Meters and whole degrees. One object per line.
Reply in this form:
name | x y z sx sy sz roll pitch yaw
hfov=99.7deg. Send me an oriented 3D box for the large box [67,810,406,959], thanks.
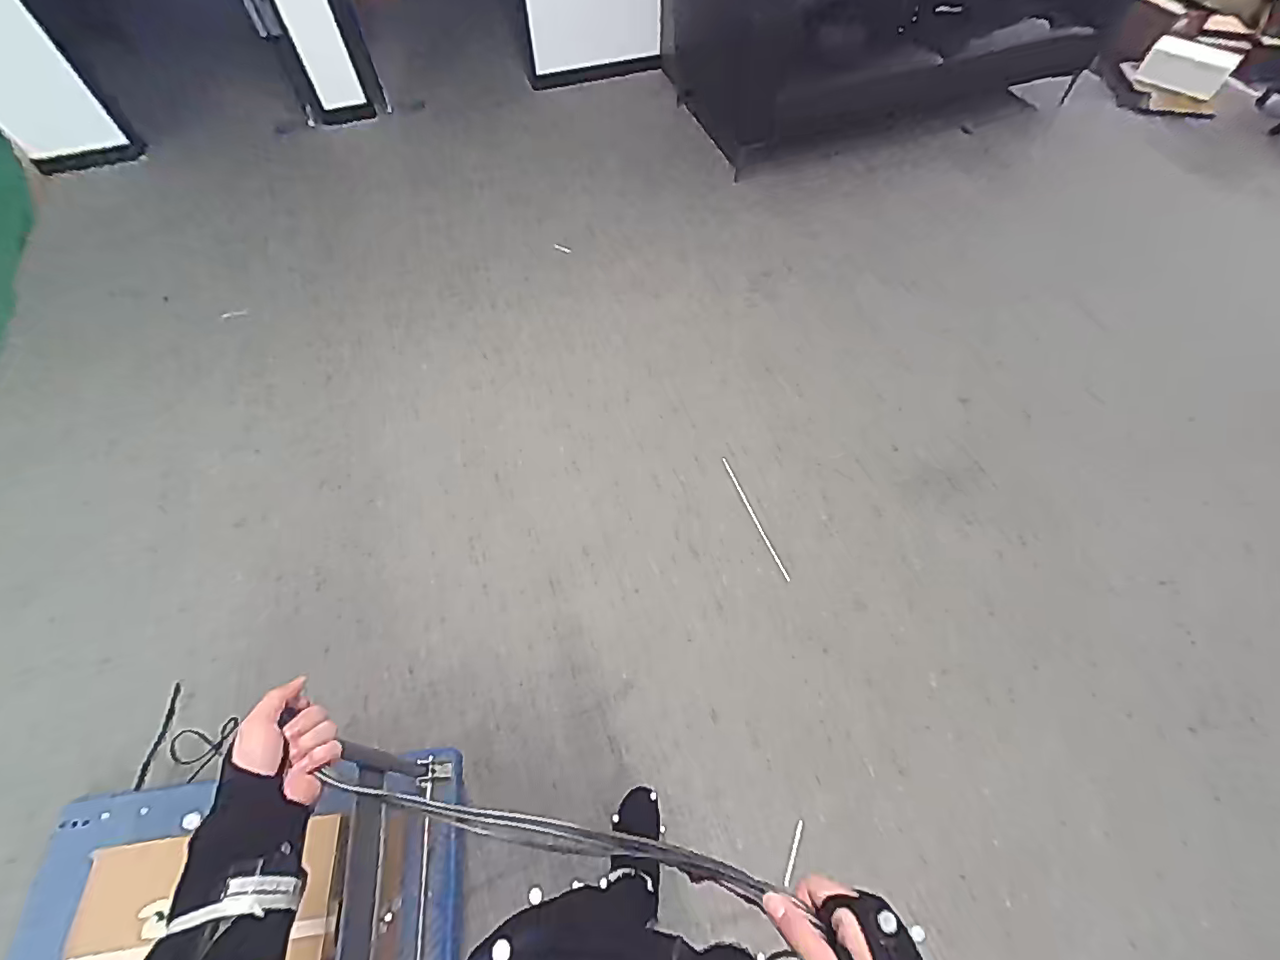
large box | -0.684 0.804 0.970 0.408 0.320 0.320 -7 58 -3
